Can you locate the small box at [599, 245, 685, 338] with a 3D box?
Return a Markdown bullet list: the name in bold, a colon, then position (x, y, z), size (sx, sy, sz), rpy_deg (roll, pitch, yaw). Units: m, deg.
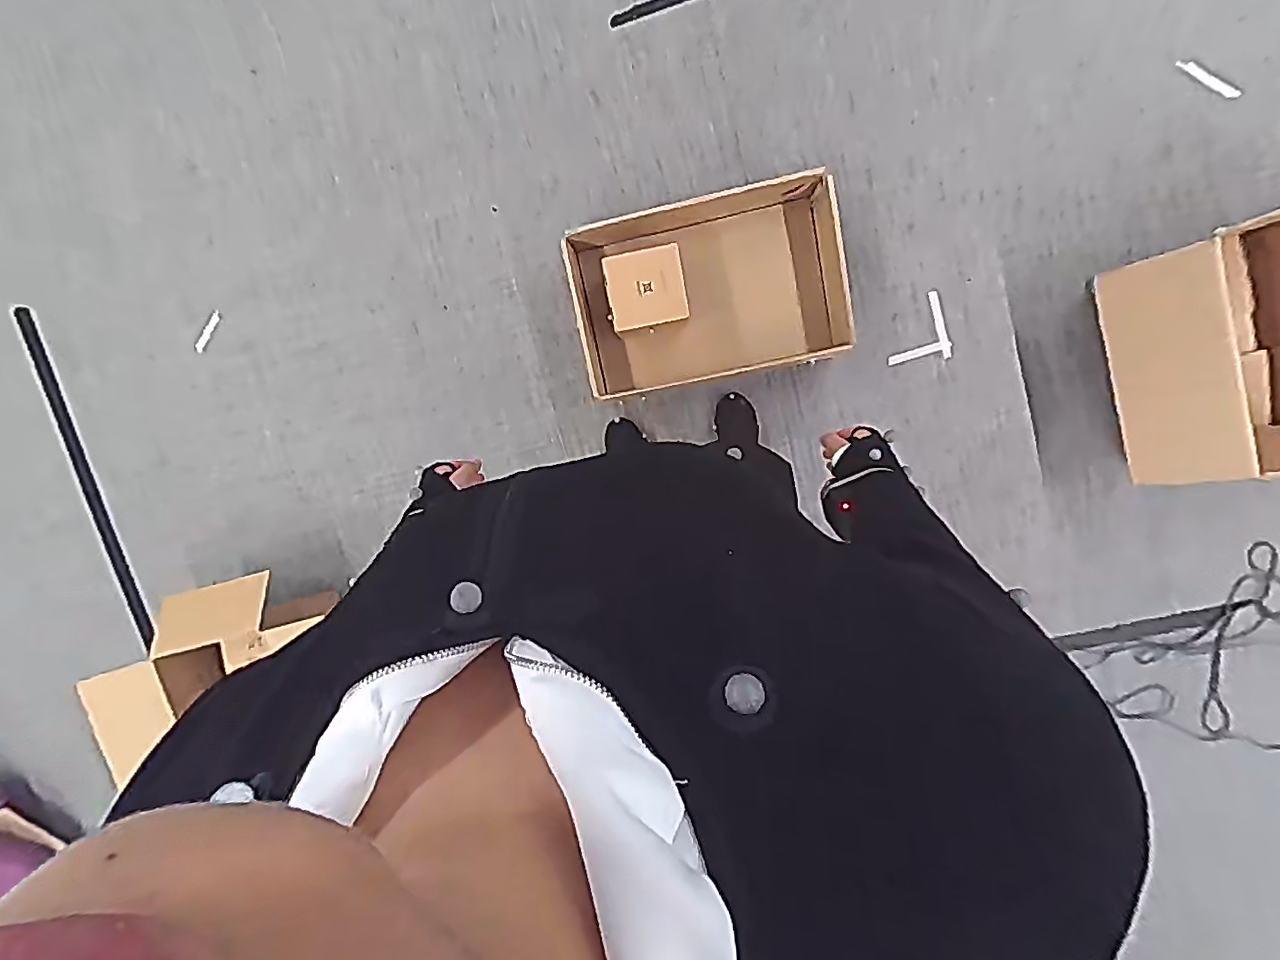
- **small box**: position (0.008, -0.445, 1.305), size (0.179, 0.176, 0.168), rpy_deg (-11, 99, 3)
